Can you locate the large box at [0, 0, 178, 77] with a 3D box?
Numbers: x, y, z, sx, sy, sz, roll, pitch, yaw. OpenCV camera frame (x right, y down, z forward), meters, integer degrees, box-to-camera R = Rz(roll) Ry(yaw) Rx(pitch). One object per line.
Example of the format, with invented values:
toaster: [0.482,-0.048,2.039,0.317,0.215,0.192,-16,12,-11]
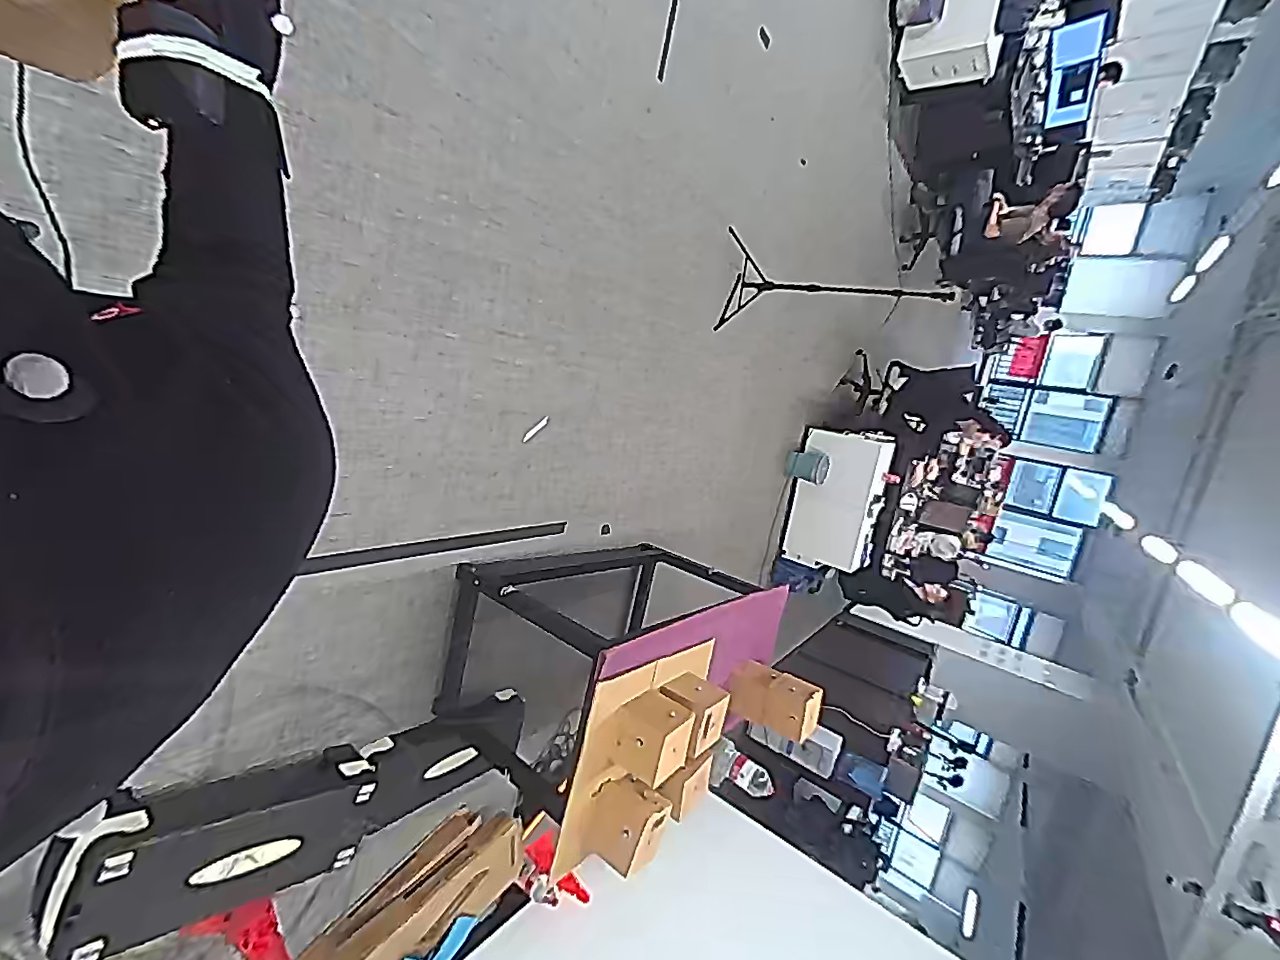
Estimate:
large box: [-0.537,-0.491,0.273,0.408,0.320,0.320,-7,113,-54]
